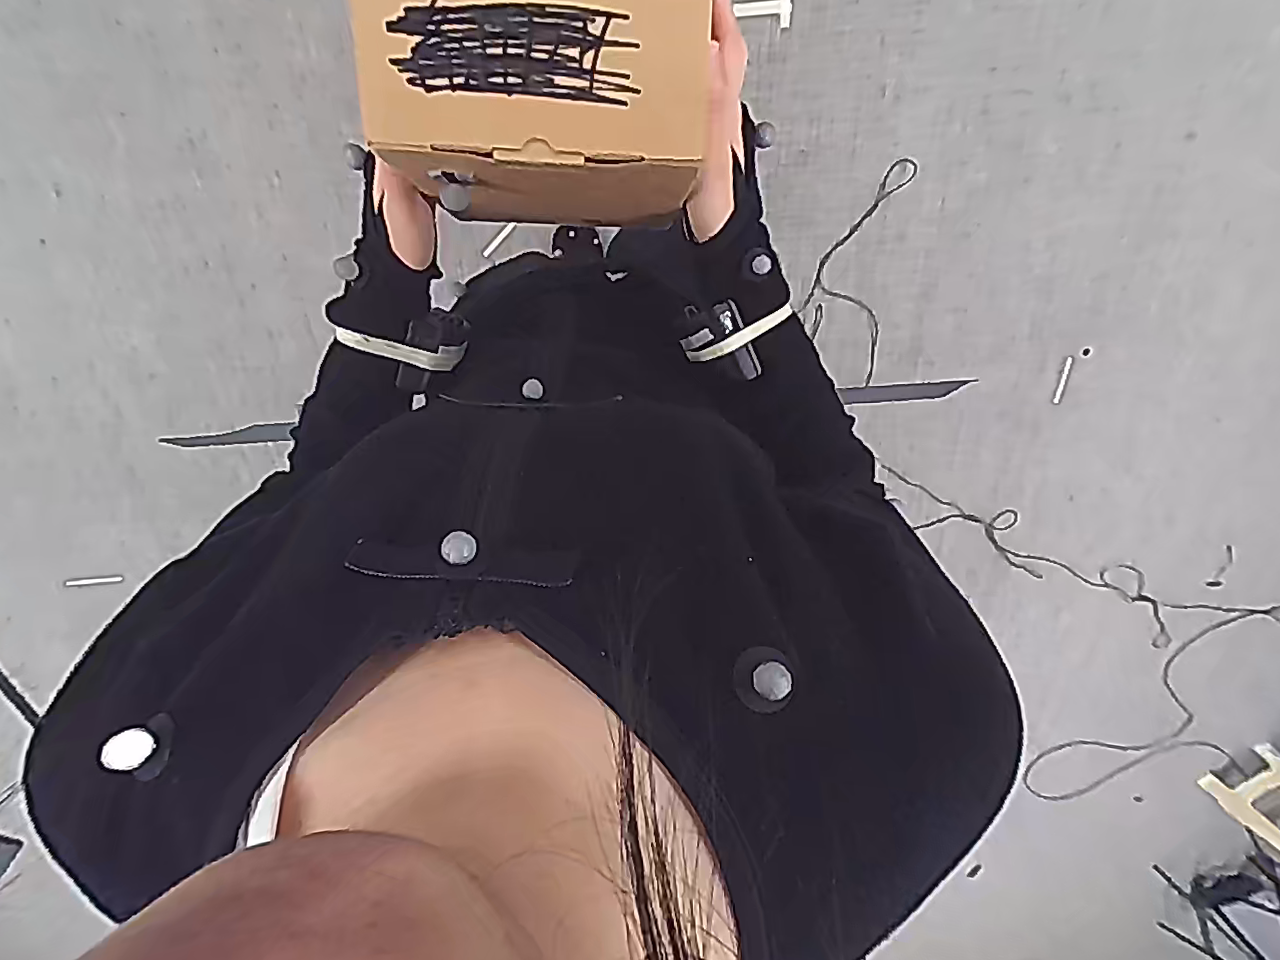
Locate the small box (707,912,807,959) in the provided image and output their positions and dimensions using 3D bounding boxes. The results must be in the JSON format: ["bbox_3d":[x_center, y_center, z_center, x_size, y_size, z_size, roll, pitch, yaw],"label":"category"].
[{"bbox_3d":[0.223,0.940,0.995,0.179,0.176,0.168,-9,119,-3],"label":"small box"}]

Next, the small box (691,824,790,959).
[{"bbox_3d":[0.204,0.865,1.138,0.168,0.176,0.179,-8,117,-3],"label":"small box"}]
